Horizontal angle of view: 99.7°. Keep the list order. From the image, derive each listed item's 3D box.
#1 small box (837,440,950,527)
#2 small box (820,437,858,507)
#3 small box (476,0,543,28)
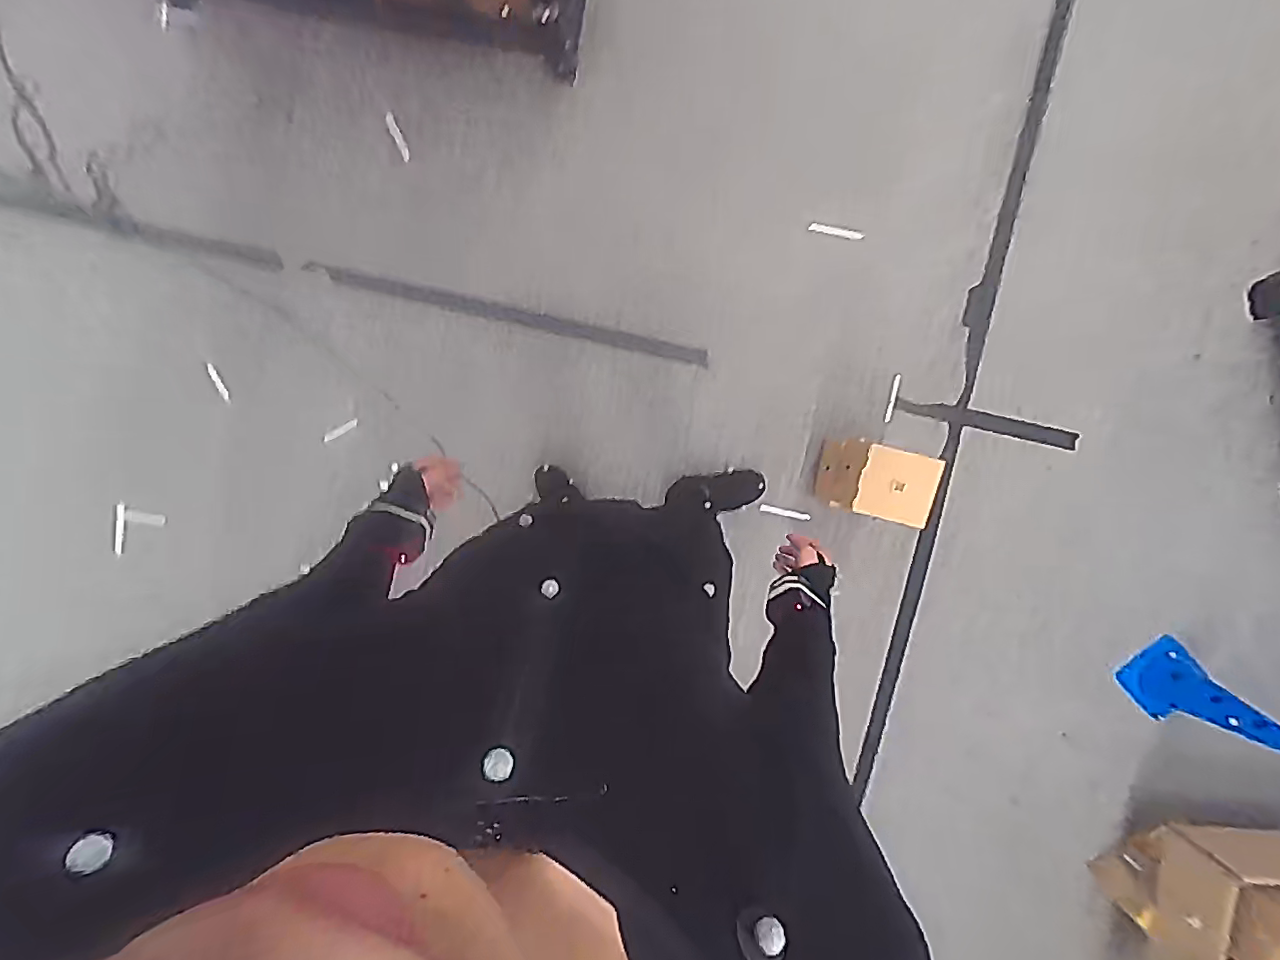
[{"bbox_3d":[0.612,0.000,1.329,0.179,0.176,0.168,15,98,2],"label":"small box"},{"bbox_3d":[0.610,-0.019,1.491,0.168,0.176,0.179,10,97,2],"label":"small box"},{"bbox_3d":[-0.367,-1.334,1.394,0.168,0.176,0.179,-17,95,6],"label":"small box"}]
